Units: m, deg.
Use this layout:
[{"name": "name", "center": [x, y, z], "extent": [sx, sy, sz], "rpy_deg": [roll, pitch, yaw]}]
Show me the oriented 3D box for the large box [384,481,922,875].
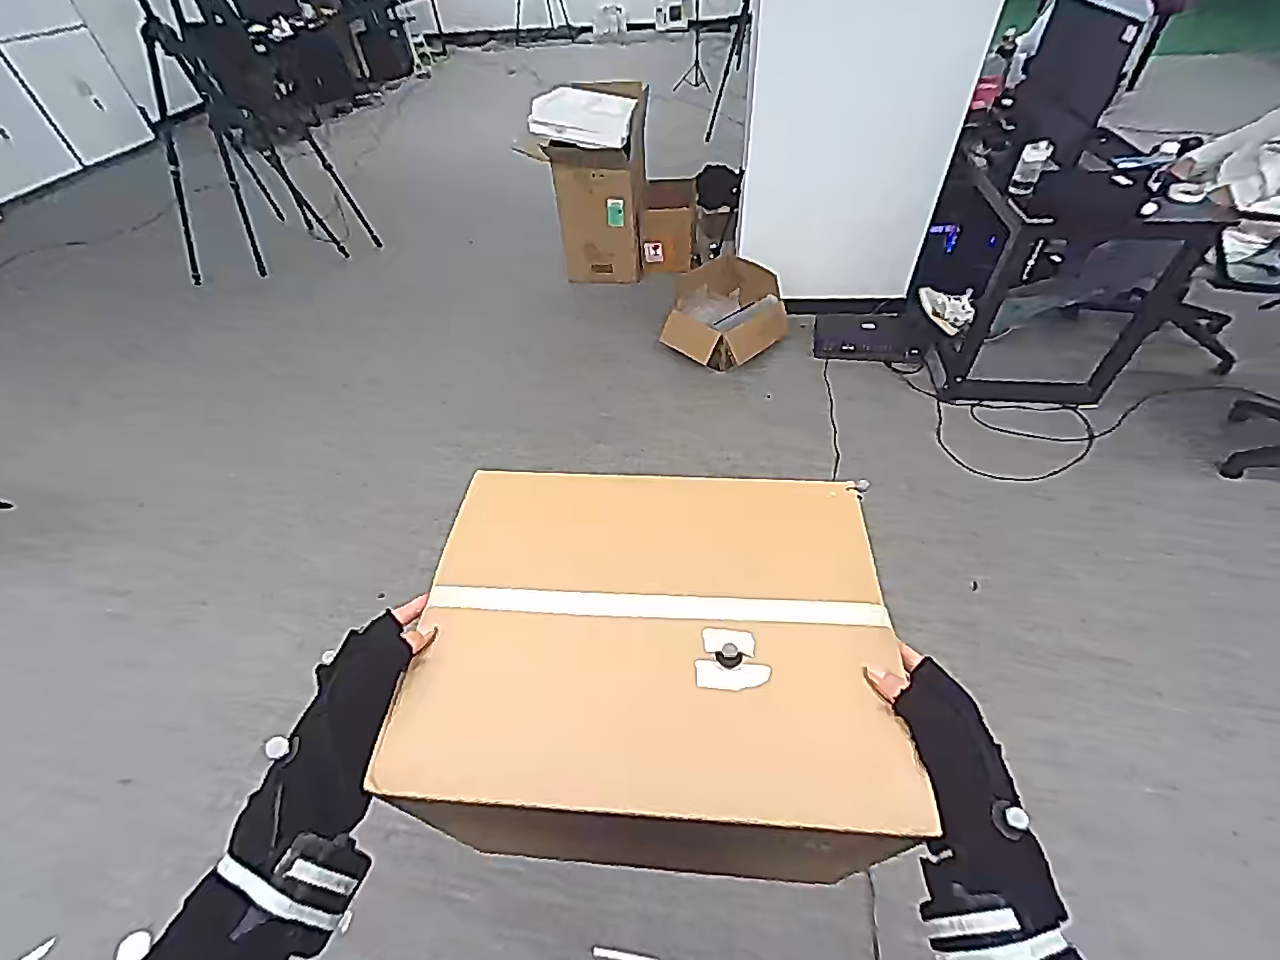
[{"name": "large box", "center": [0.016, 0.219, 0.600], "extent": [0.408, 0.320, 0.320], "rpy_deg": [2, 48, 4]}]
